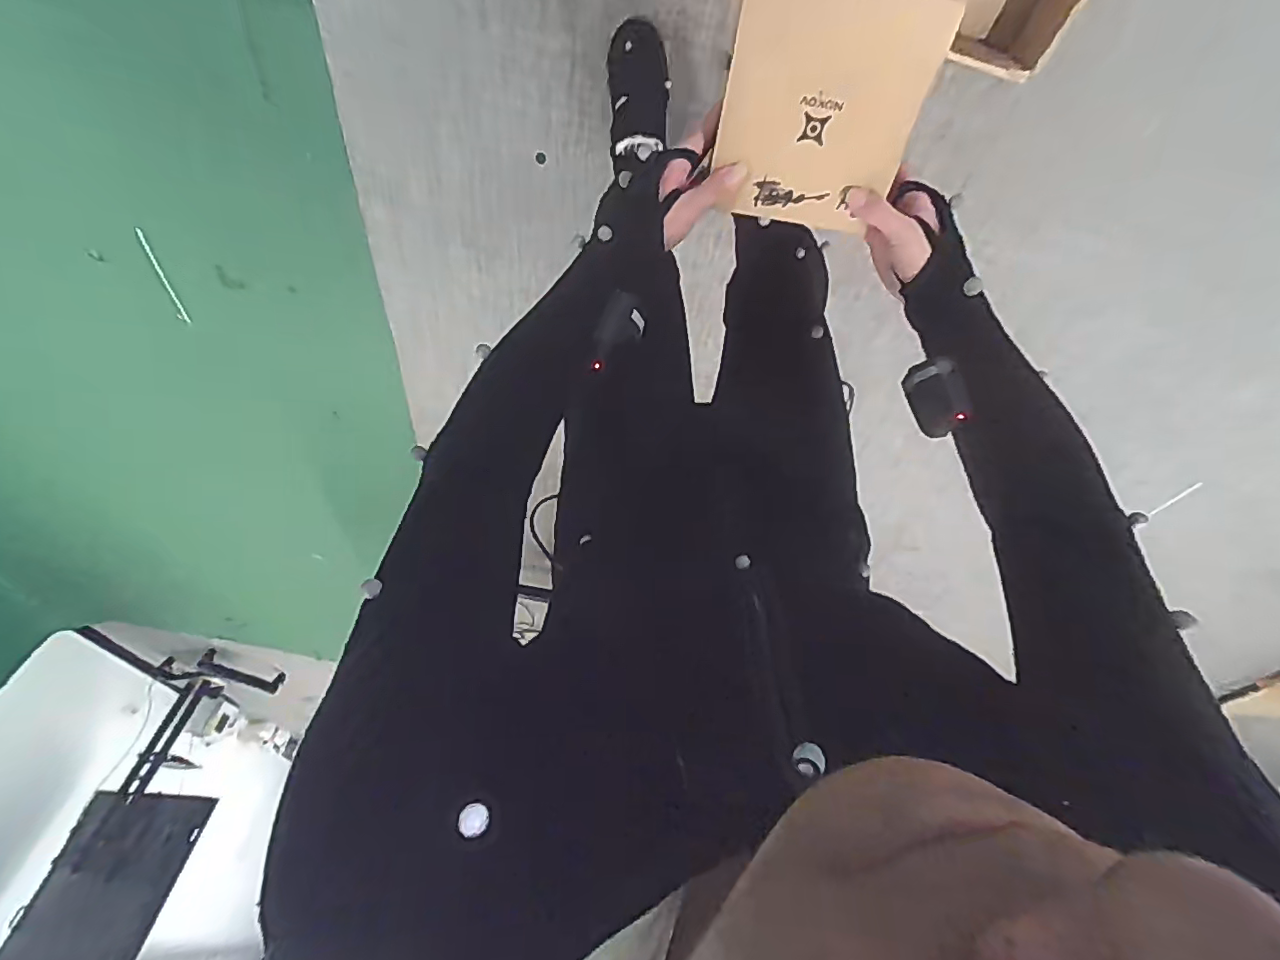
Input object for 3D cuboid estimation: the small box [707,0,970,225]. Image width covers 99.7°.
[{"bbox_3d":[0.162,-0.371,0.505,0.168,0.176,0.179,10,136,0],"label":"small box"}]
